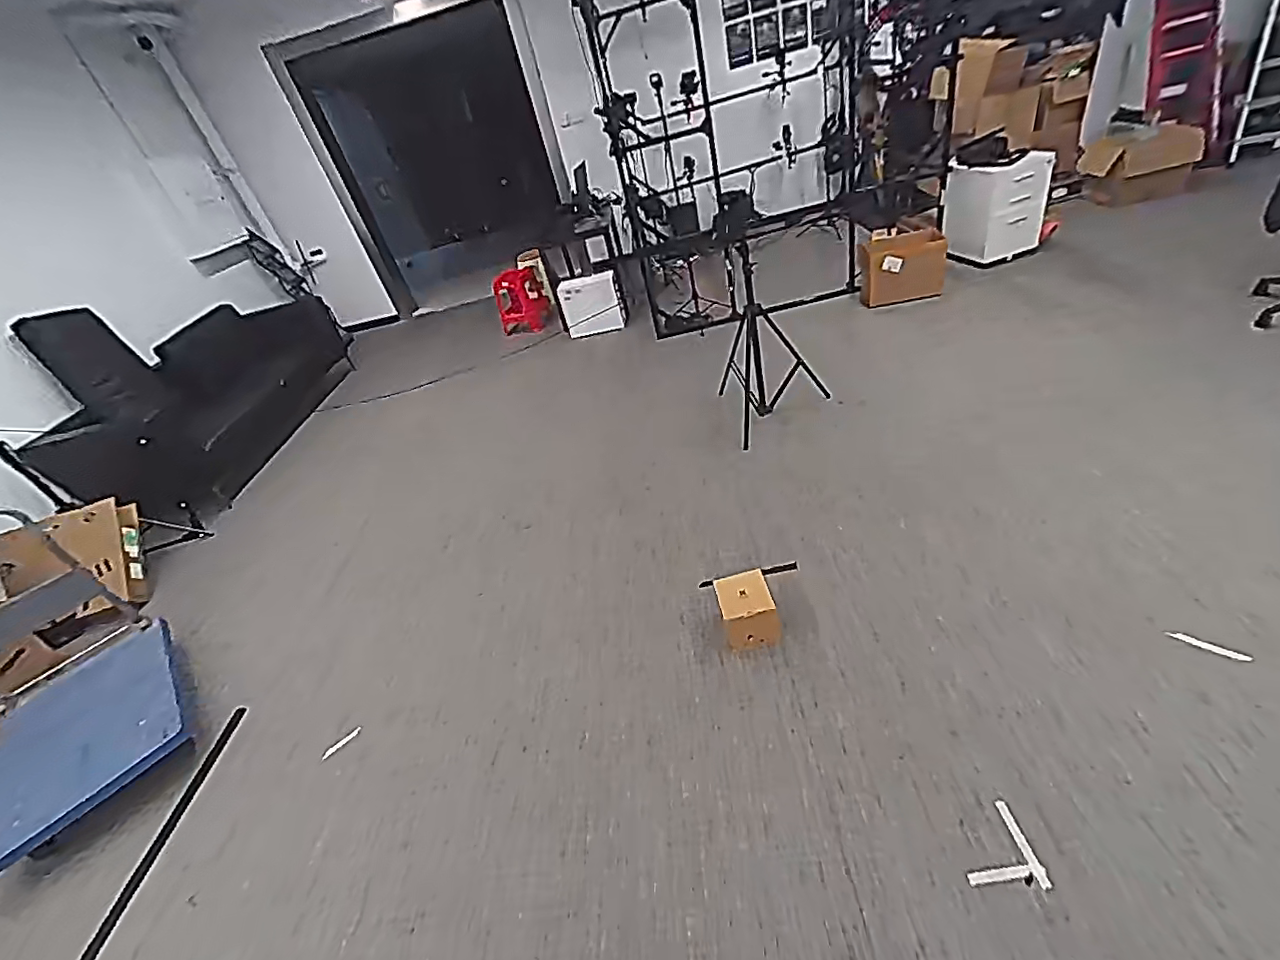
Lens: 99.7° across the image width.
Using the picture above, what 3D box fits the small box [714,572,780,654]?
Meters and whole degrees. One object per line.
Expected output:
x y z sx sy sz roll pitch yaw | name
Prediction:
0.351 0.438 1.781 0.168 0.176 0.179 -15 35 2 | small box
